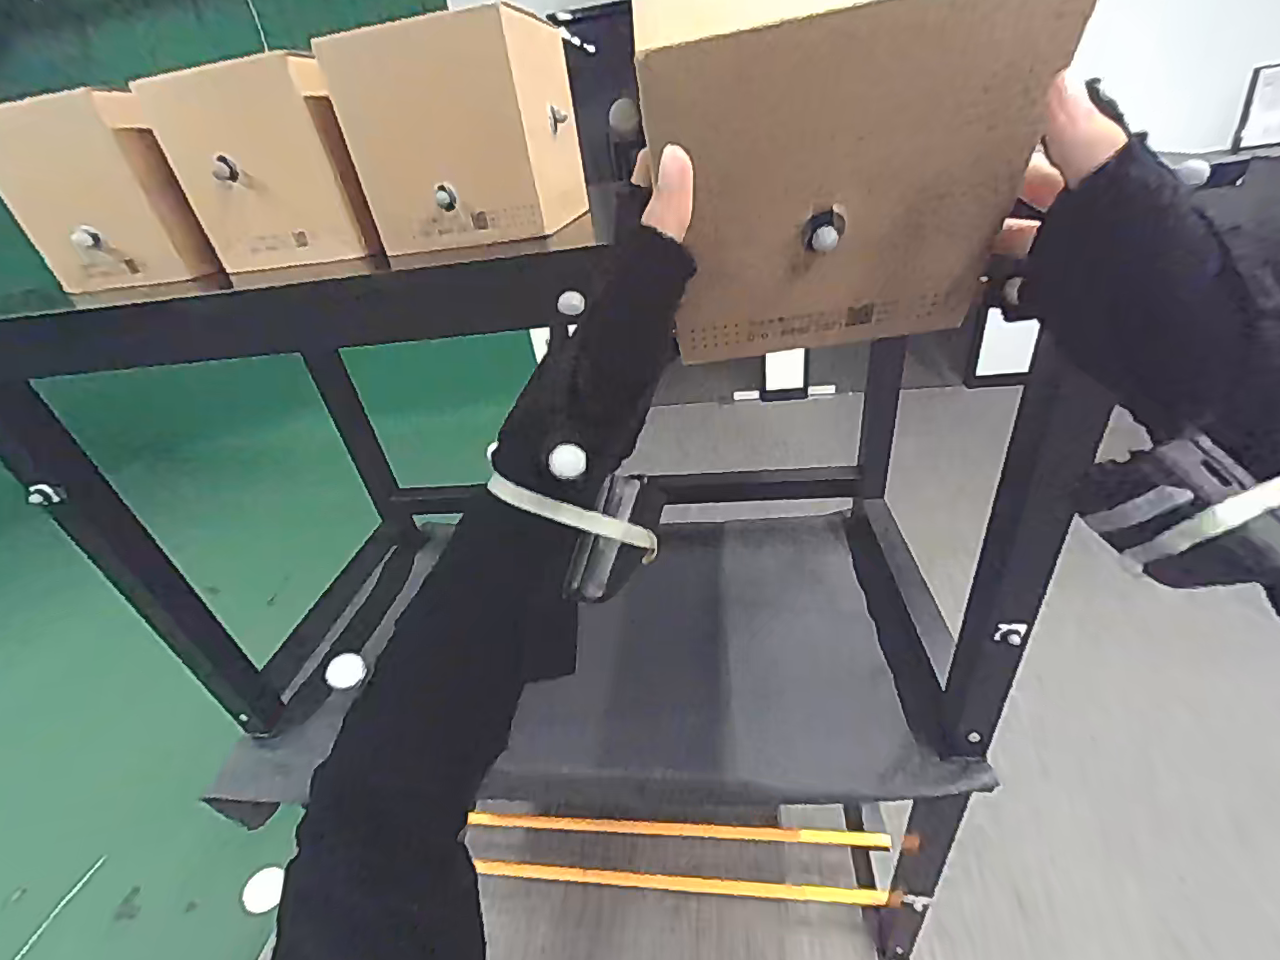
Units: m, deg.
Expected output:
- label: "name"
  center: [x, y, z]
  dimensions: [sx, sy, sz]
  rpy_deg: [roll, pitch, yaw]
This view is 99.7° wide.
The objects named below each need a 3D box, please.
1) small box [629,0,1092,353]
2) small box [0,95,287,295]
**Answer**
- label: "small box"
  center: [0.089, -0.188, 0.303]
  dimensions: [0.168, 0.176, 0.179]
  rpy_deg: [-6, 58, 7]
- label: "small box"
  center: [-0.544, -0.318, 0.609]
  dimensions: [0.168, 0.176, 0.179]
  rpy_deg: [-2, 34, 11]
